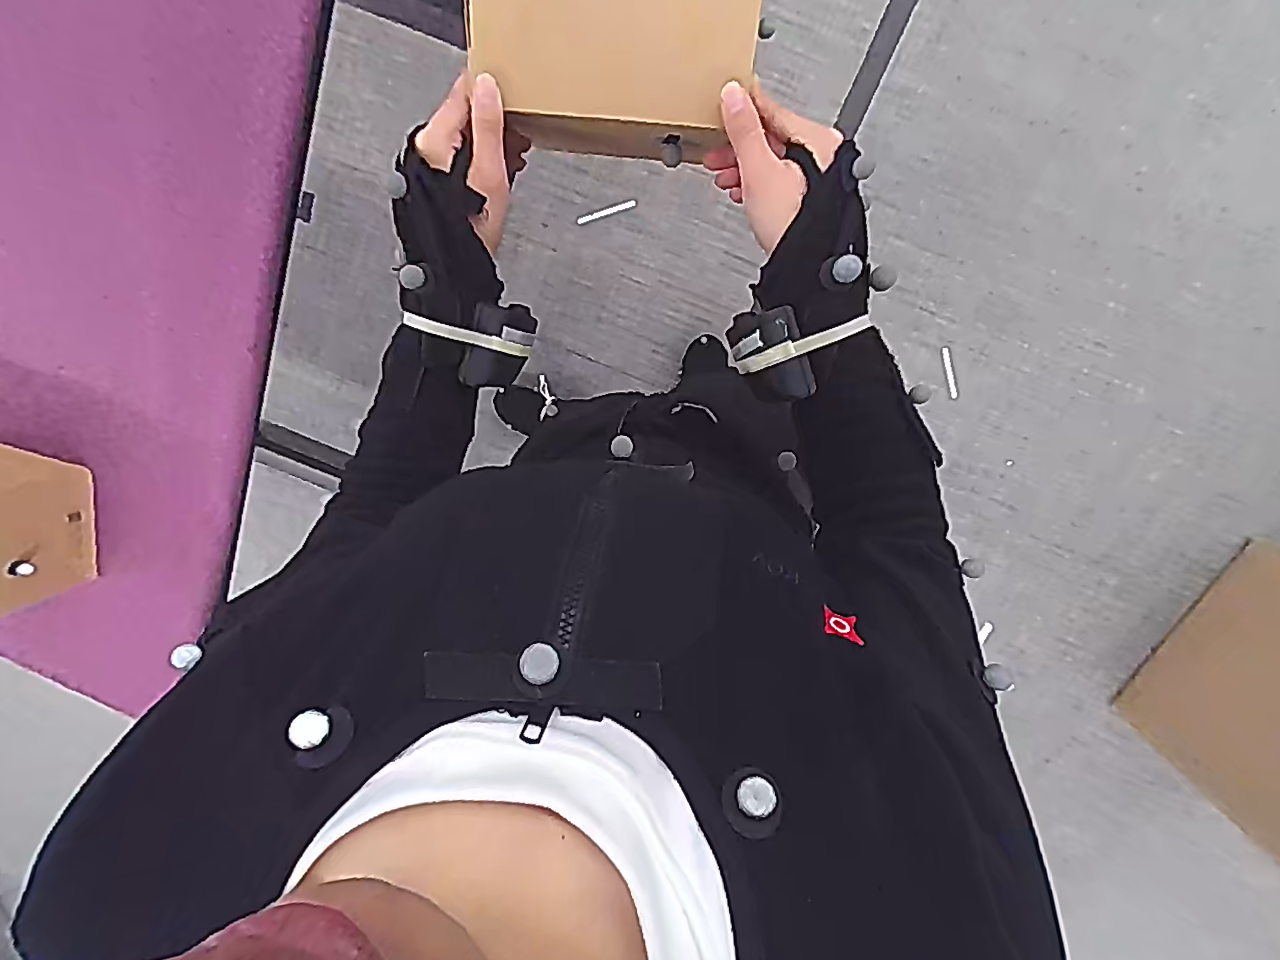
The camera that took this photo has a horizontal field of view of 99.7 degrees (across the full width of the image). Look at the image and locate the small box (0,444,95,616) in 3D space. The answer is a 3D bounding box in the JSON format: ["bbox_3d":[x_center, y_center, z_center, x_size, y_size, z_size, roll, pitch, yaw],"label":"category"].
[{"bbox_3d":[-0.828,0.061,0.664,0.179,0.176,0.168,15,106,3],"label":"small box"}]

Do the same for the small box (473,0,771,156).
[{"bbox_3d":[-0.003,-0.335,0.374,0.179,0.176,0.168,7,113,3],"label":"small box"}]
